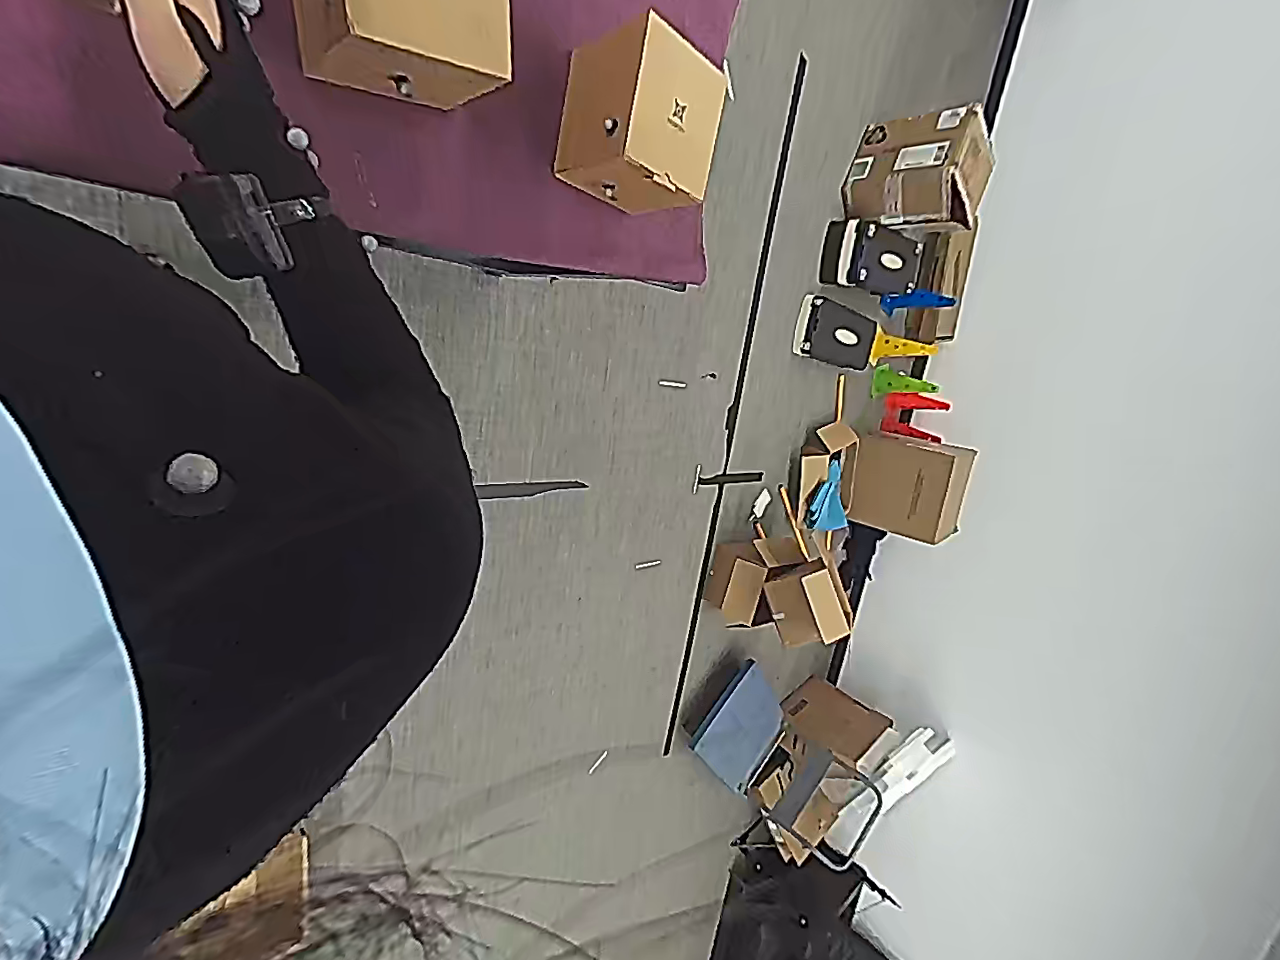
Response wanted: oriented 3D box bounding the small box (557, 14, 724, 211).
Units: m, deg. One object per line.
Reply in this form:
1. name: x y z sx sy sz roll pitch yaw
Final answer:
1. small box: -0.005 -0.523 0.804 0.168 0.176 0.179 2 104 -45

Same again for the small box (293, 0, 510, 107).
1. small box: -0.251 -0.517 0.563 0.168 0.176 0.179 -16 116 -41
